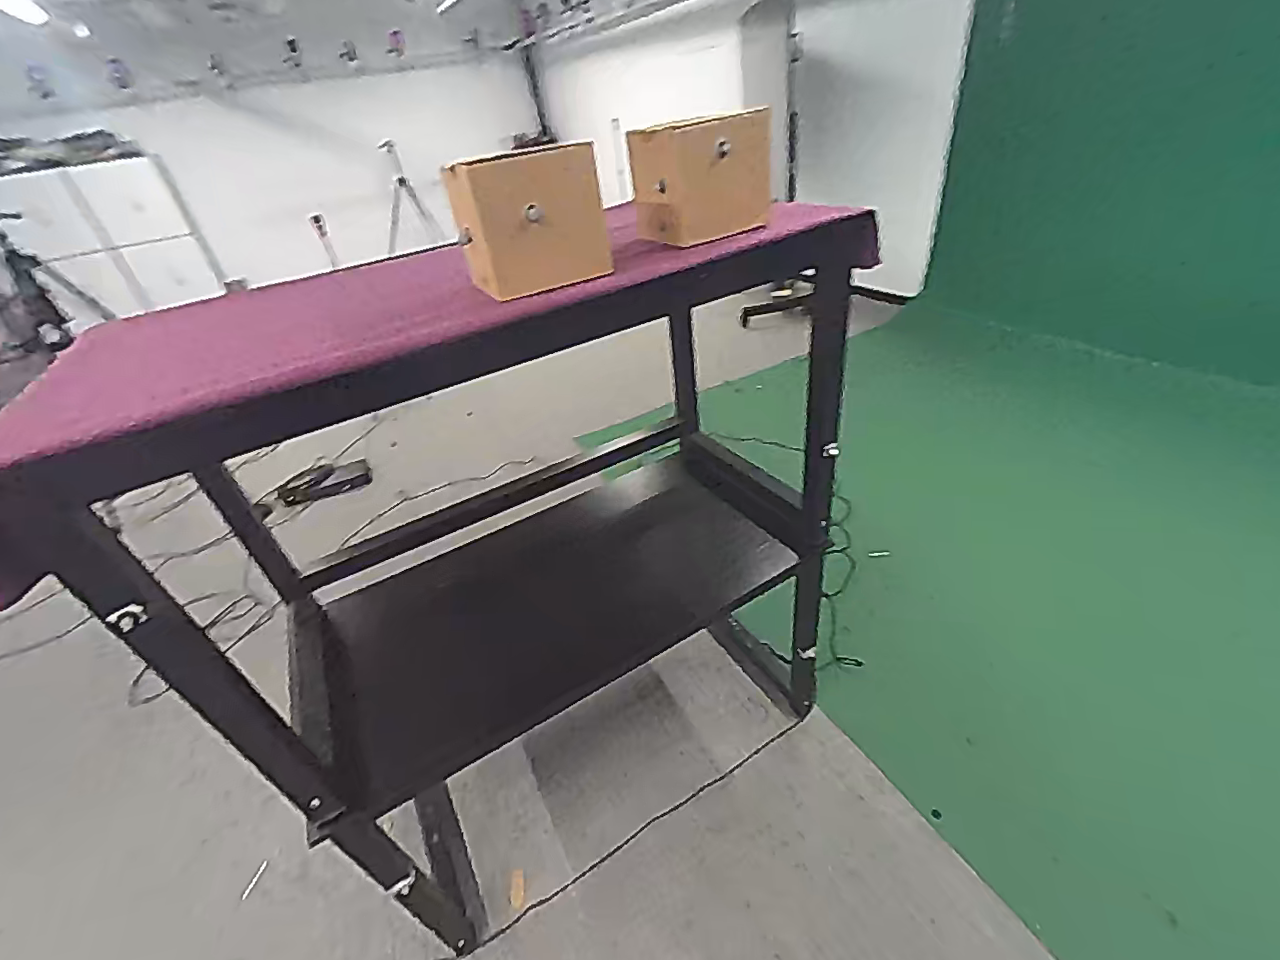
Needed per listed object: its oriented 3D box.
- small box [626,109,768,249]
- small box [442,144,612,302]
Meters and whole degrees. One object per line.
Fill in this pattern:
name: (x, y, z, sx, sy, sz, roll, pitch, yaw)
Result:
small box: (0.099, -0.496, 0.901, 0.179, 0.176, 0.168, -22, 36, -16)
small box: (-0.161, -0.372, 0.787, 0.179, 0.176, 0.168, -23, 37, -18)
